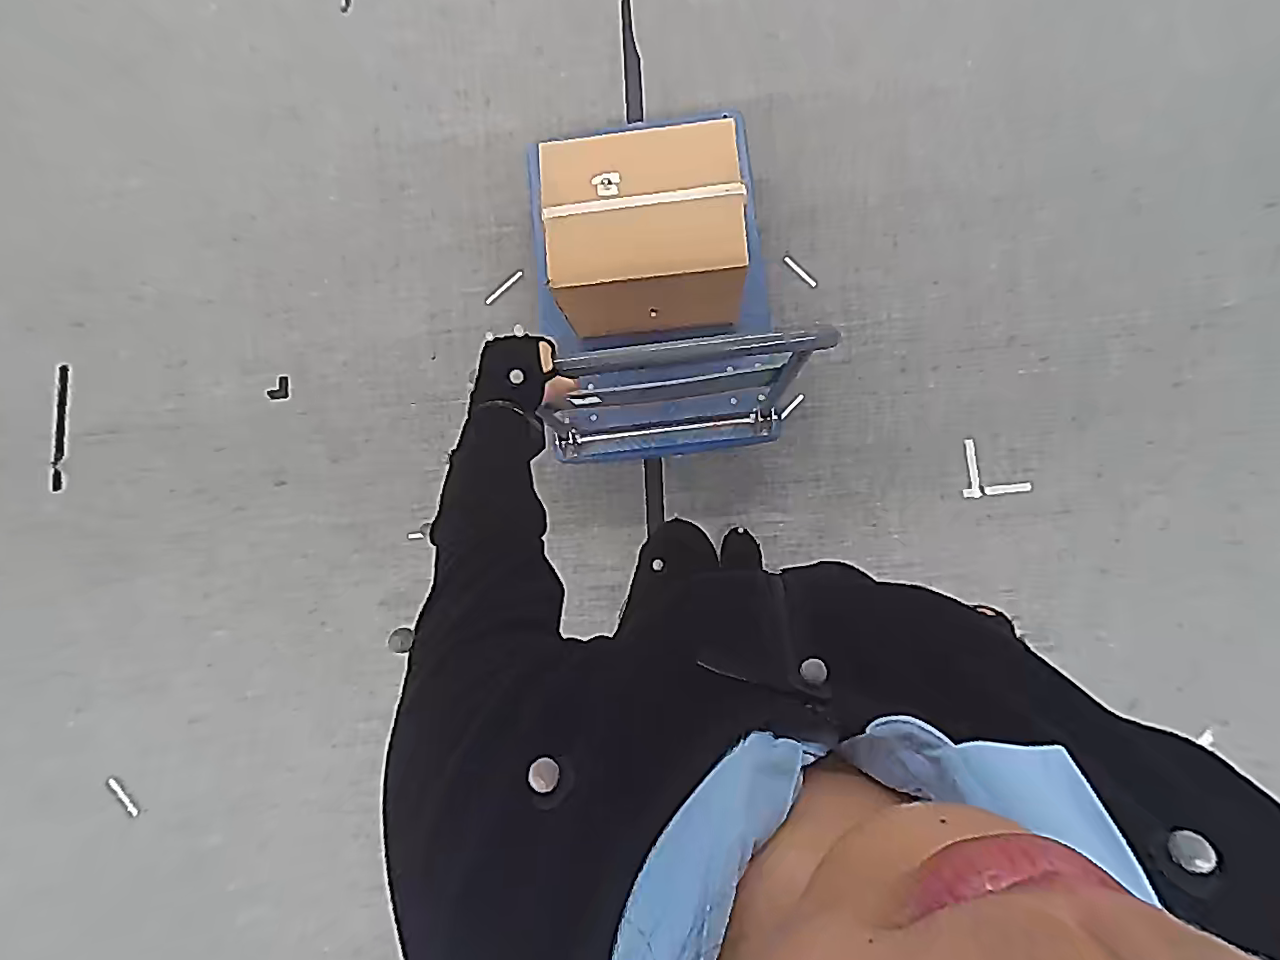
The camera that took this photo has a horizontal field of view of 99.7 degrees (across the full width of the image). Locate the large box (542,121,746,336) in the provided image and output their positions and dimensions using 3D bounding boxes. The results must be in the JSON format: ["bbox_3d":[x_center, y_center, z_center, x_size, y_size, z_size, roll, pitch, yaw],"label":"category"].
[{"bbox_3d":[0.019,-0.549,1.249,0.408,0.320,0.320,-5,84,6],"label":"large box"}]
